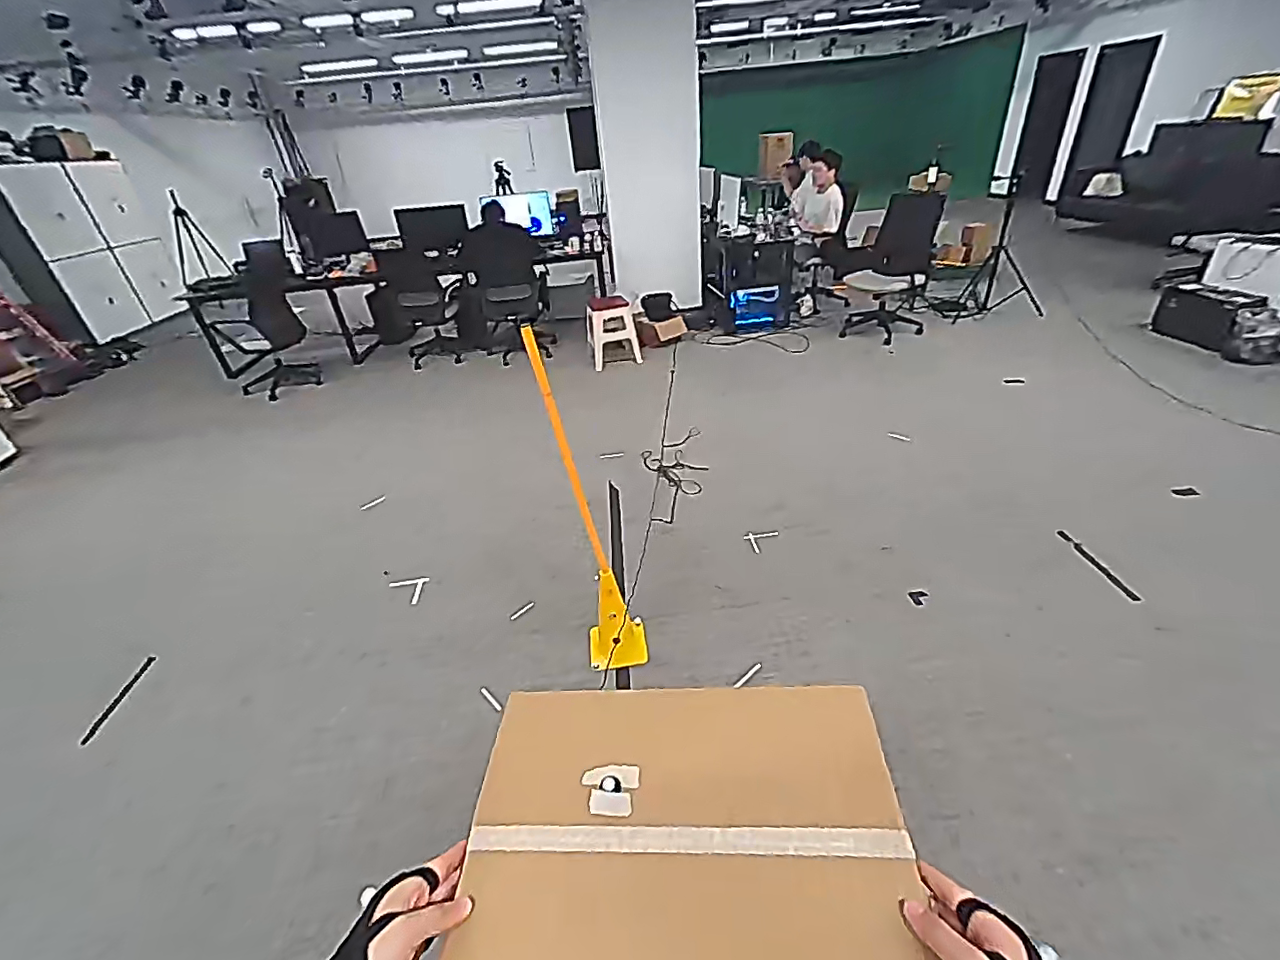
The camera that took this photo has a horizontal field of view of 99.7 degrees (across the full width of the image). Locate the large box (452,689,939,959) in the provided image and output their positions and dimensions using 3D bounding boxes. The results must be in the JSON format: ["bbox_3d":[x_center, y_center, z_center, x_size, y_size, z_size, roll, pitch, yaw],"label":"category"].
[{"bbox_3d":[0.064,0.460,0.591,0.408,0.320,0.320,-5,36,8],"label":"large box"}]
